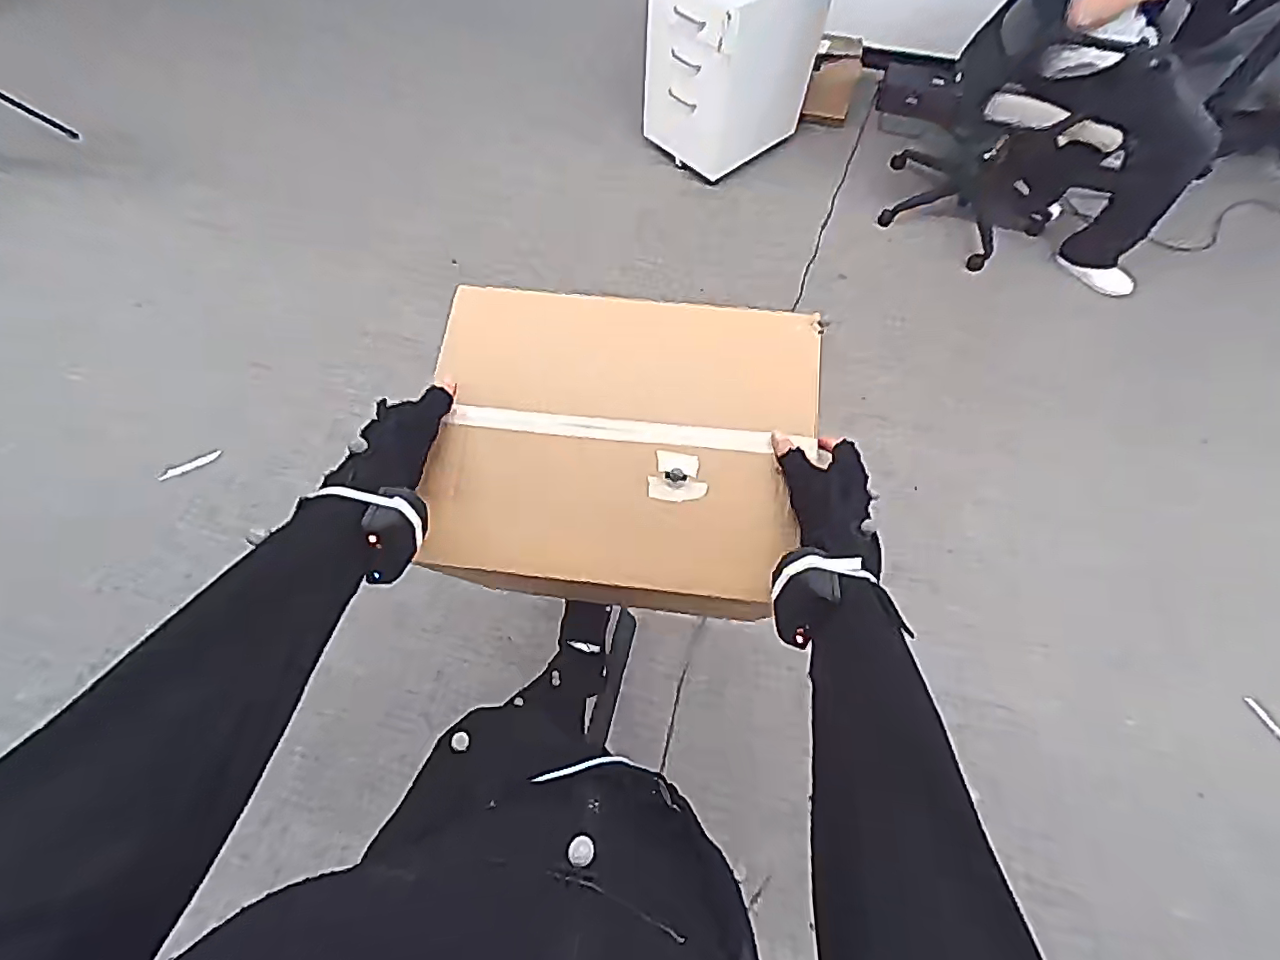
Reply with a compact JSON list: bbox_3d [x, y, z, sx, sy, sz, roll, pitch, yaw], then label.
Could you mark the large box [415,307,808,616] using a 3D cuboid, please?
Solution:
[{"bbox_3d":[-0.020,0.001,0.727,0.408,0.320,0.320,6,75,3],"label":"large box"}]
